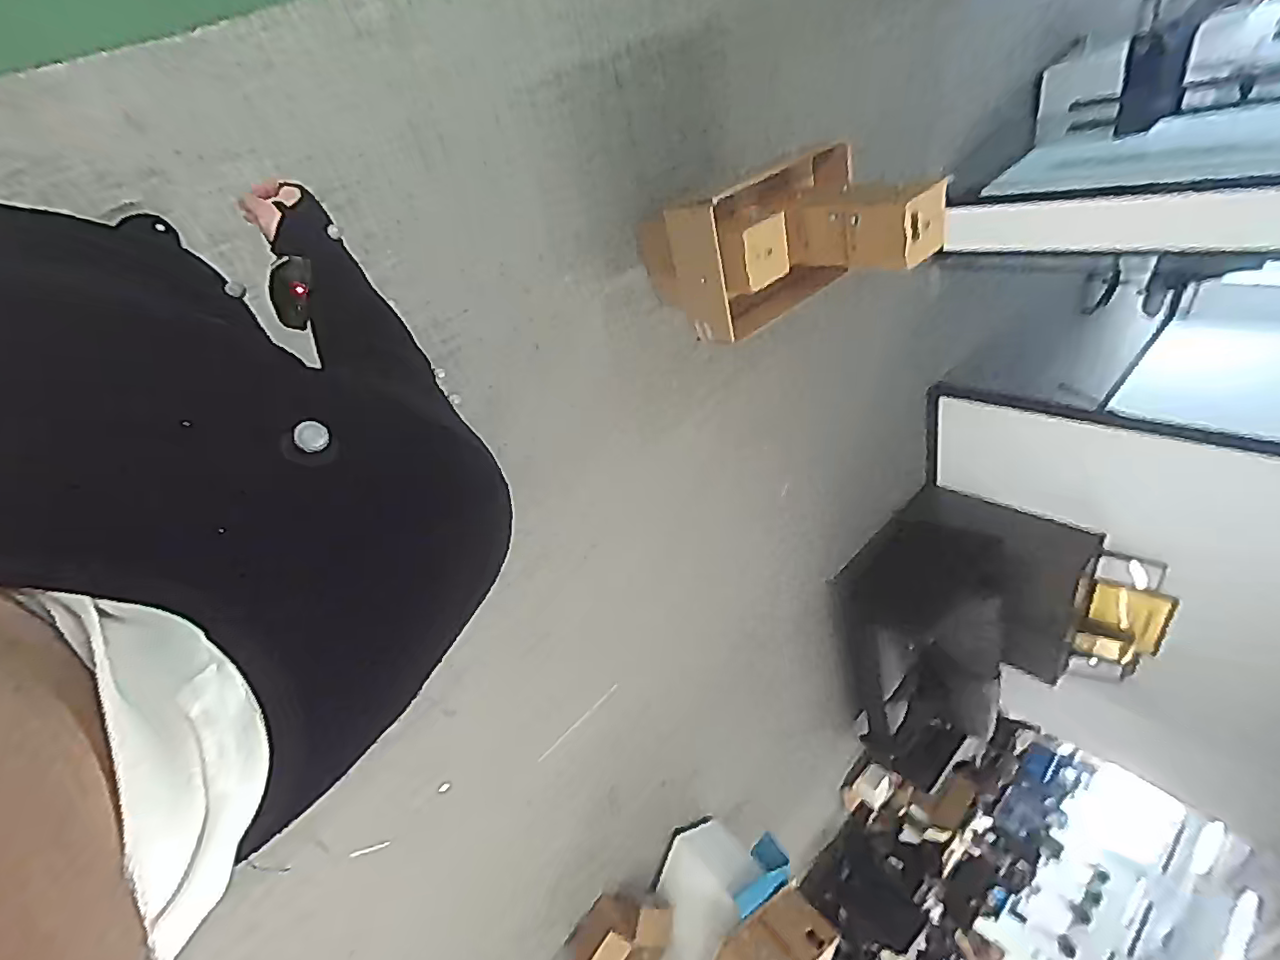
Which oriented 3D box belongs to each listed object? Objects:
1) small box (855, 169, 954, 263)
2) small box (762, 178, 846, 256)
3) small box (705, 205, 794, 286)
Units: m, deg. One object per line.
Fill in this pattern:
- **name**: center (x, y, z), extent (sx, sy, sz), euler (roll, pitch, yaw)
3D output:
- **small box**: center (0.668, -0.669, 1.379), extent (0.179, 0.176, 0.168), euler (-36, 128, -20)
- **small box**: center (0.494, -0.793, 1.630), extent (0.179, 0.176, 0.168), euler (-34, 128, -21)
- **small box**: center (0.309, -0.660, 1.521), extent (0.179, 0.176, 0.168), euler (-35, 127, -25)
